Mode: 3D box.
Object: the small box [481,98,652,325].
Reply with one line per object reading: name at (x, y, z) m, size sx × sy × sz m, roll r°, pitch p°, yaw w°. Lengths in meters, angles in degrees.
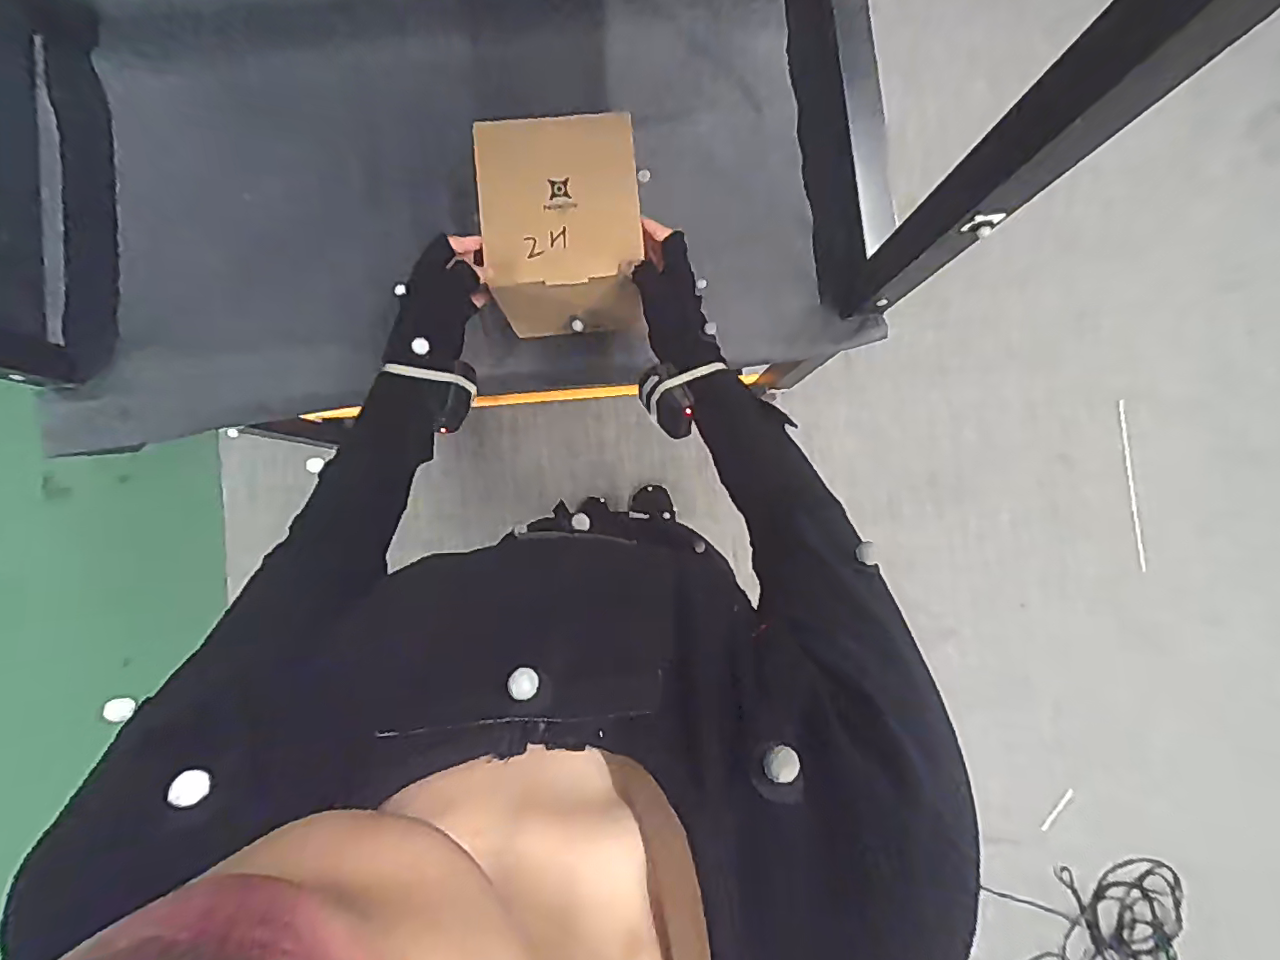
small box at (-0.079, -0.298, 0.629) m, size 0.168 × 0.176 × 0.179 m, roll -5°, pitch 88°, yaw -2°
